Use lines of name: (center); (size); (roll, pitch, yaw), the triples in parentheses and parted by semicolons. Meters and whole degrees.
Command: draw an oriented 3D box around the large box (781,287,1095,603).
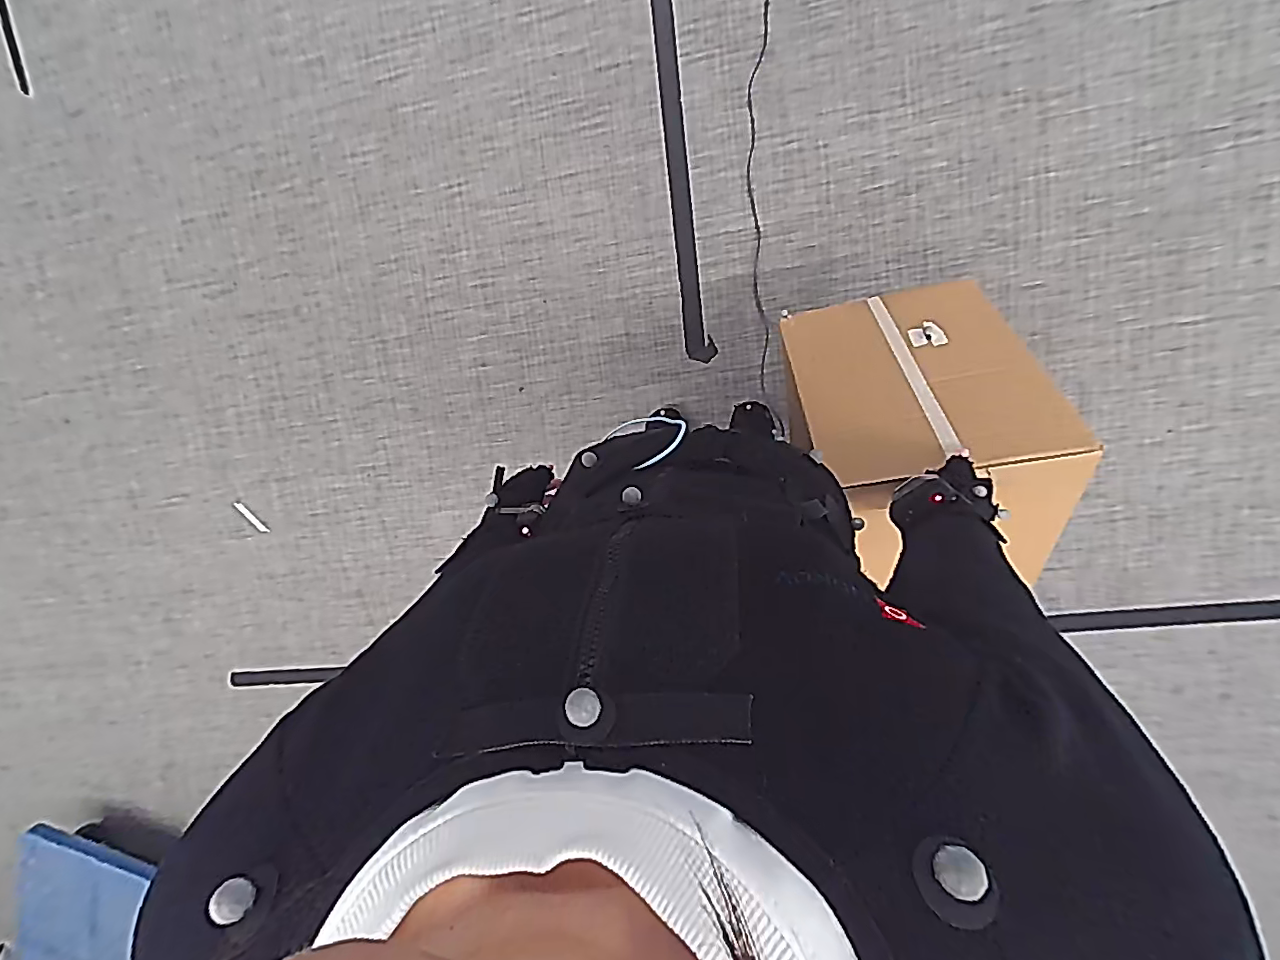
large box: (0.437, -0.058, 0.909); (0.320, 0.408, 0.320); (-9, 136, 11)
